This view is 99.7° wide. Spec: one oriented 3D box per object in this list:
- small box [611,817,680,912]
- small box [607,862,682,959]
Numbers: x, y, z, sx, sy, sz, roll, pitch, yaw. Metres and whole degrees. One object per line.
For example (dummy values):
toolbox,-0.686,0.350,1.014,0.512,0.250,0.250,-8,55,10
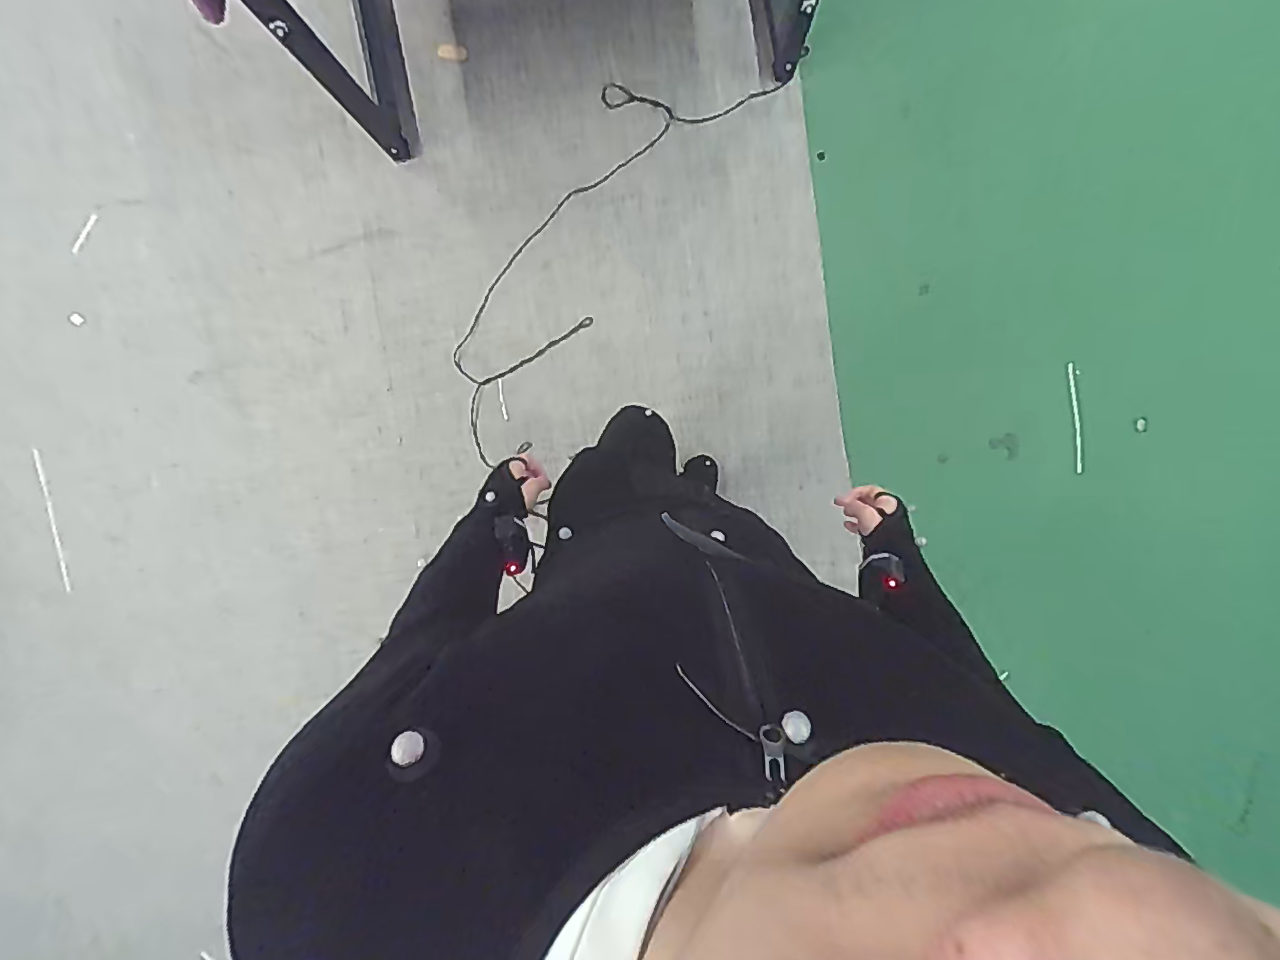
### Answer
small box,0.021,1.145,1.601,0.168,0.176,0.179,-14,92,4
small box,0.012,1.156,1.438,0.168,0.176,0.179,-11,94,3
